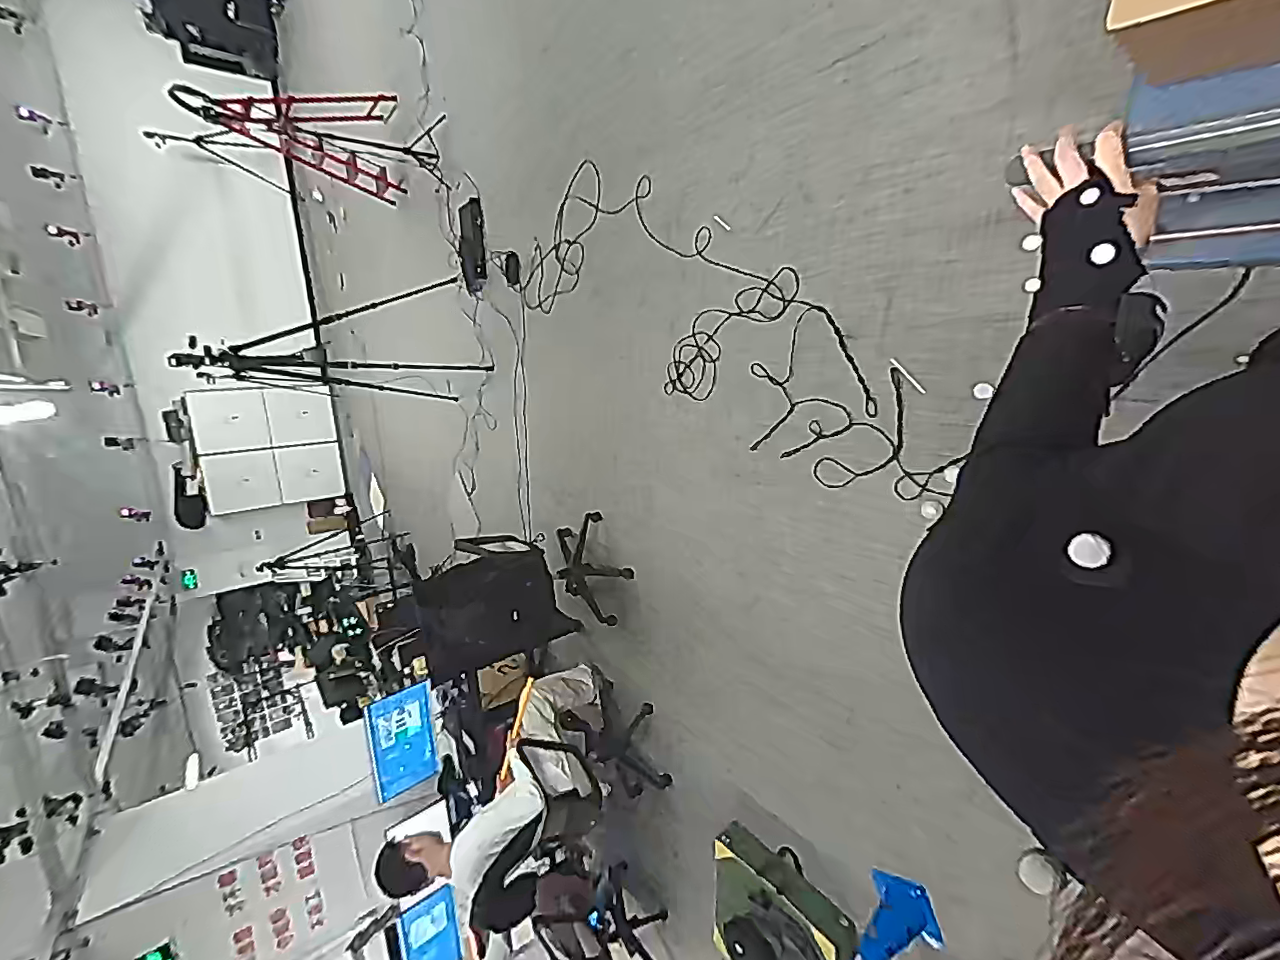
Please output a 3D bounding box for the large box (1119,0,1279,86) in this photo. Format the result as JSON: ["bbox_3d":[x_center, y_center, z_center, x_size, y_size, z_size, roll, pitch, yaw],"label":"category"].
[{"bbox_3d":[0.914,-0.763,0.667,0.408,0.320,0.320,20,115,47],"label":"large box"}]
